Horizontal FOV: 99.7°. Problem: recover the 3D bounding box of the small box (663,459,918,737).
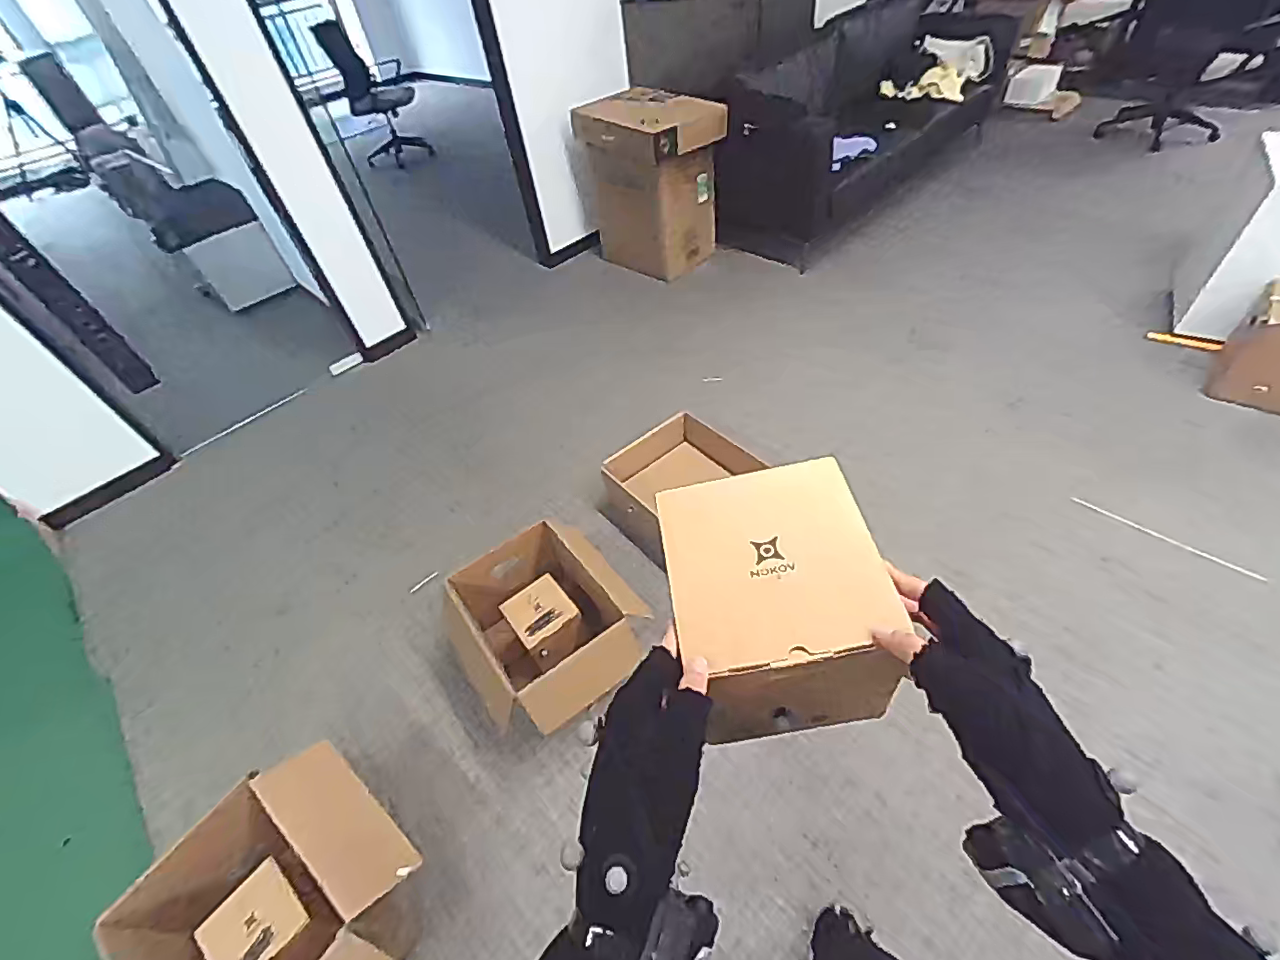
[{"bbox_3d":[0.121,0.111,0.495,0.168,0.176,0.179,-12,49,5],"label":"small box"}]
